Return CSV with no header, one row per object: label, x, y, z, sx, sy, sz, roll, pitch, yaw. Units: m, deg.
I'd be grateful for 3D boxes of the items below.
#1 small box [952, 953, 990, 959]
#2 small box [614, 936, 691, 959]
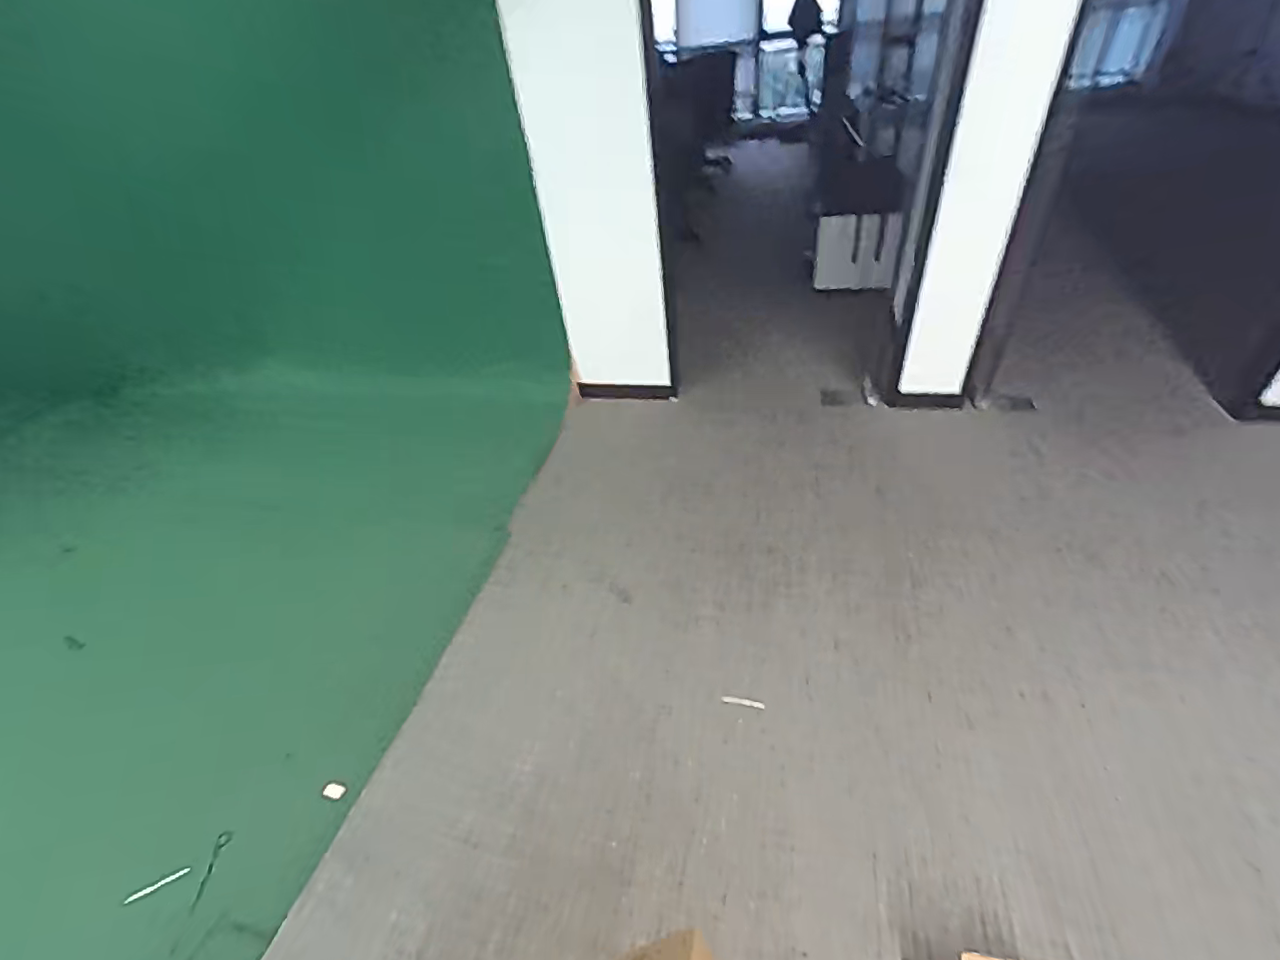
small box,0.591,0.885,0.849,0.179,0.176,0.168,3,42,12
small box,-0.018,0.427,0.310,0.168,0.176,0.179,-26,69,1
